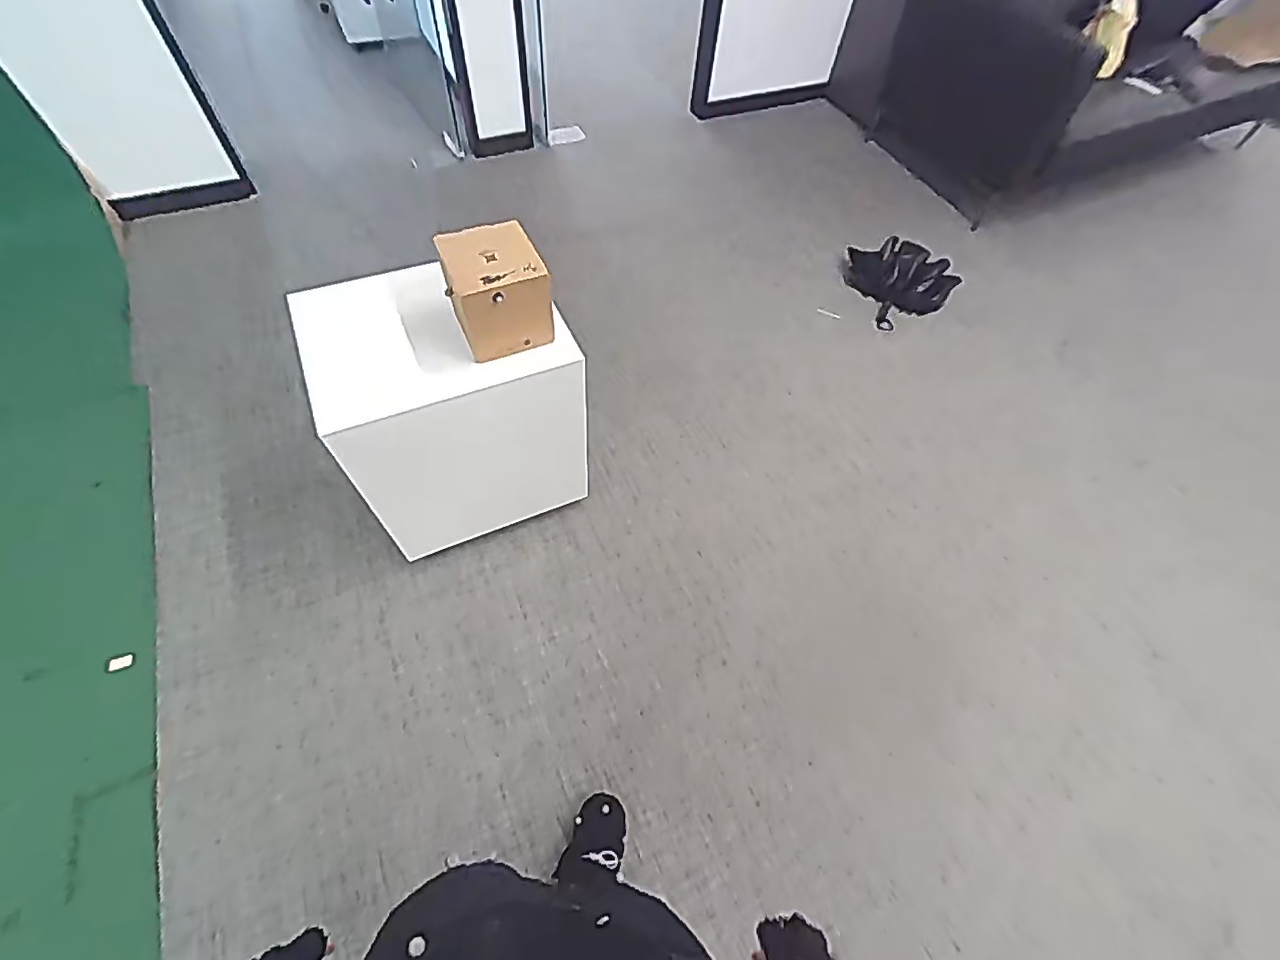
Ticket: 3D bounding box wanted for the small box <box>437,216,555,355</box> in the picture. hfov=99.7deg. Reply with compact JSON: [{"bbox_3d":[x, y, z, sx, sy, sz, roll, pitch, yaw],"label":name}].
[{"bbox_3d":[-0.275,-0.377,1.056,0.168,0.176,0.179,-22,62,-15],"label":"small box"}]
